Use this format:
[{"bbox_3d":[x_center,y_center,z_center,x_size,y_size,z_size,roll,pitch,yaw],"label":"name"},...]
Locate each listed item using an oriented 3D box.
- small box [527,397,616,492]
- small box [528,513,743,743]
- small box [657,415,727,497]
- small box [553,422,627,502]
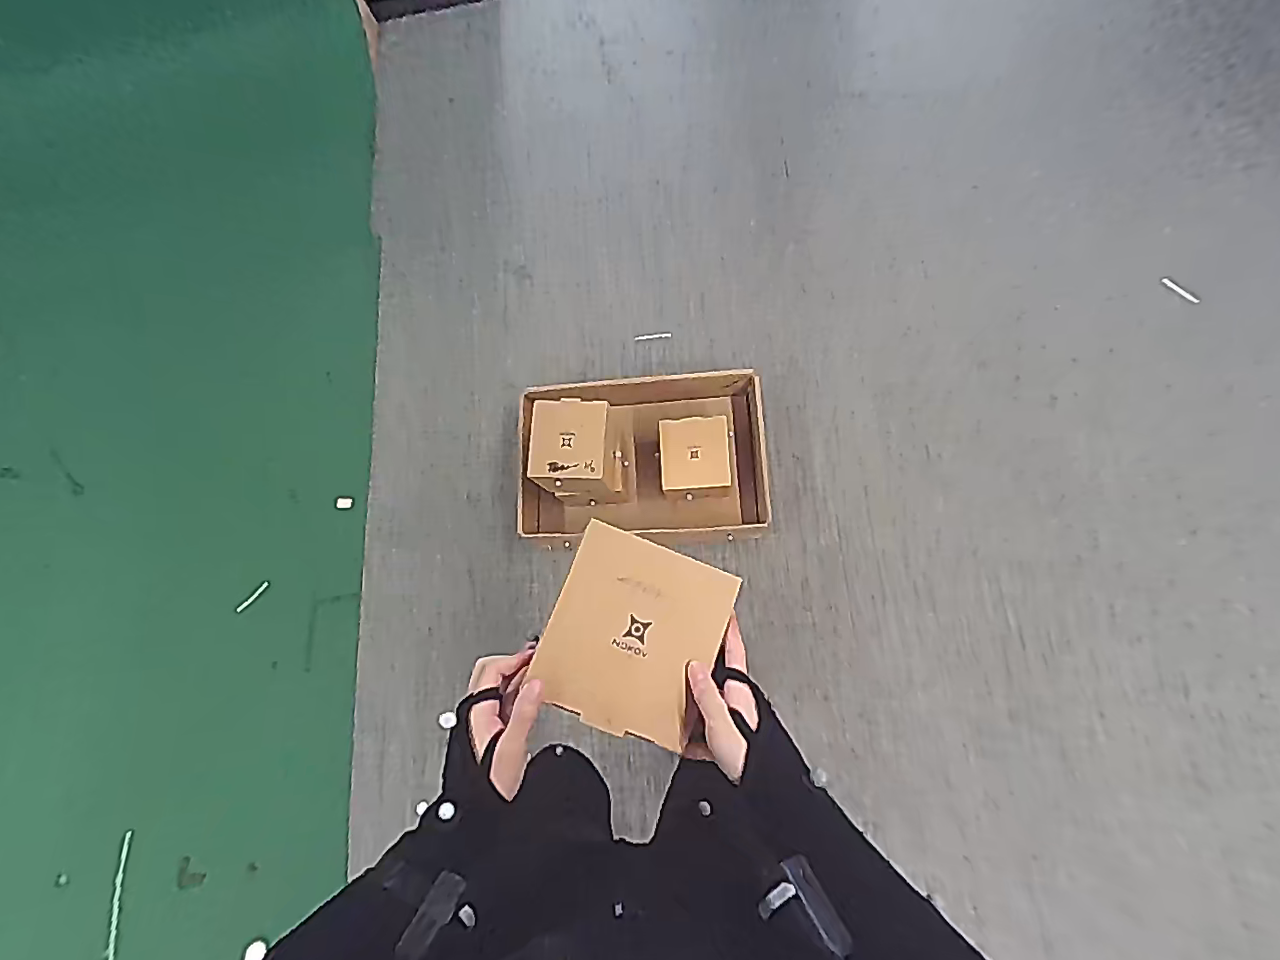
[{"bbox_3d":[-0.150,-0.077,1.247,0.168,0.176,0.179,2,78,6],"label":"small box"},{"bbox_3d":[-0.011,0.157,0.607,0.168,0.176,0.179,24,76,-5],"label":"small box"},{"bbox_3d":[0.135,-0.054,1.380,0.168,0.176,0.179,-4,78,6],"label":"small box"},{"bbox_3d":[-0.126,-0.041,1.405,0.168,0.176,0.179,-4,78,4],"label":"small box"}]
